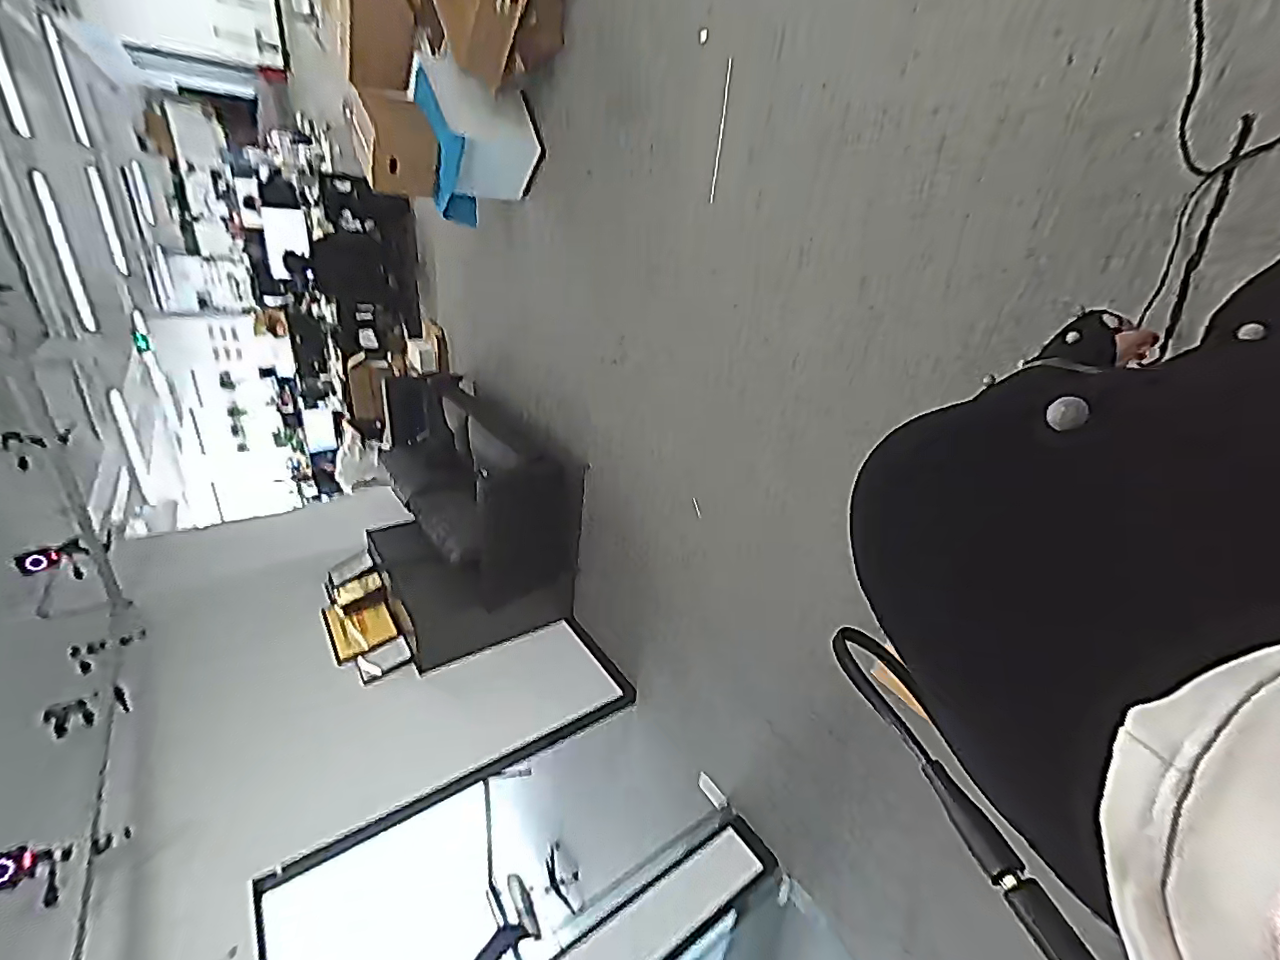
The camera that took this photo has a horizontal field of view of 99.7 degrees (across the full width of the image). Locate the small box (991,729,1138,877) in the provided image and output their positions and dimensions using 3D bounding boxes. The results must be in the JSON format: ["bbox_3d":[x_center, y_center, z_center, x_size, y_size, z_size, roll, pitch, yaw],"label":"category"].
[{"bbox_3d":[0.897,0.671,1.143,0.179,0.176,0.168,35,127,44],"label":"small box"}]

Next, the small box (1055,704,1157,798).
[{"bbox_3d":[1.032,0.653,1.236,0.168,0.176,0.179,34,128,45],"label":"small box"}]

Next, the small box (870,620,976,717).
[{"bbox_3d":[0.799,0.521,1.527,0.179,0.176,0.168,41,132,40],"label":"small box"}]
